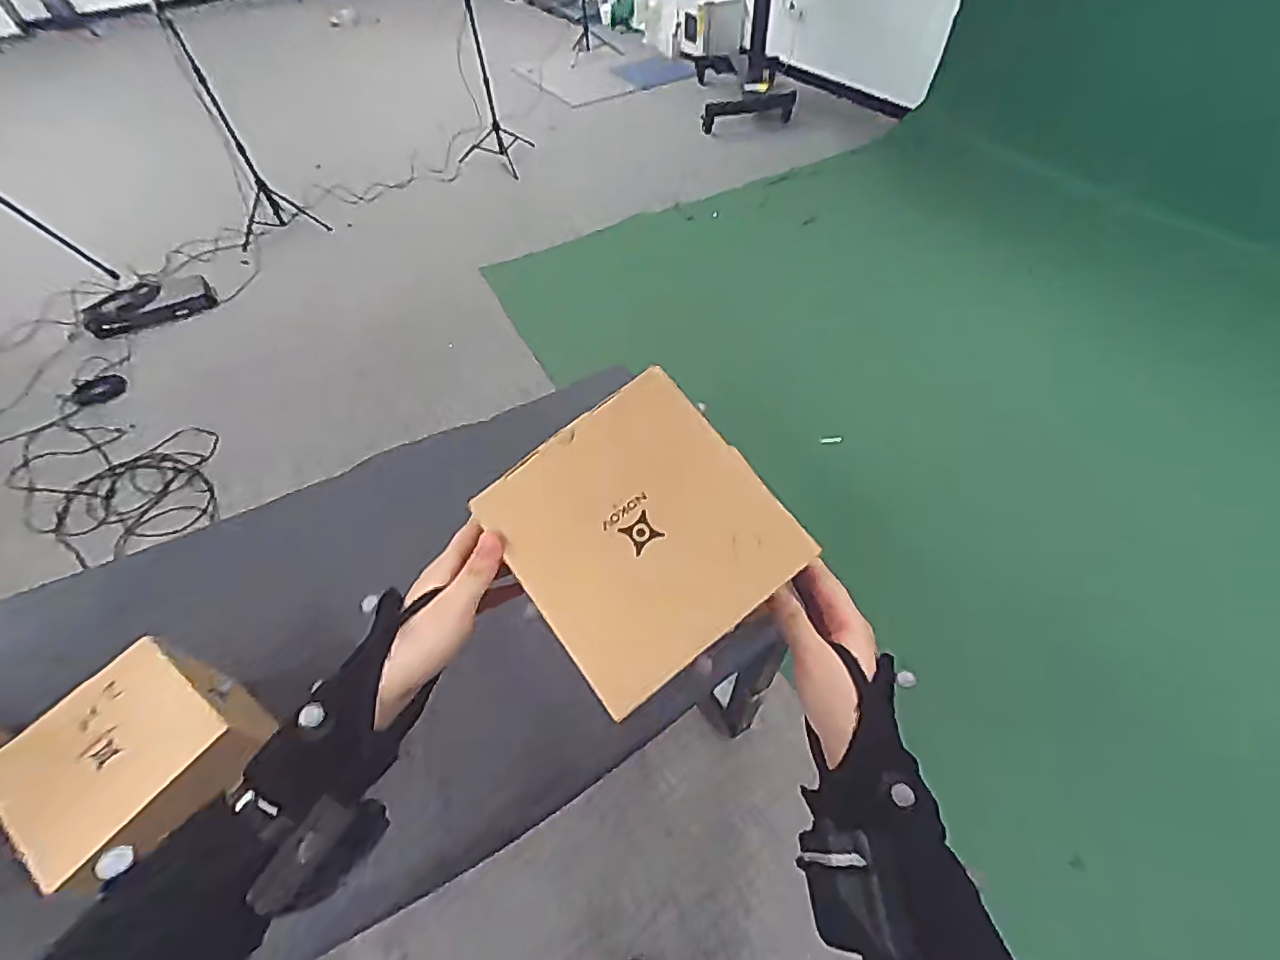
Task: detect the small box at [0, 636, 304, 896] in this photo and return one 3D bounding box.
[{"bbox_3d":[-0.520,0.311,0.593,0.179,0.176,0.168,28,58,22],"label":"small box"}]

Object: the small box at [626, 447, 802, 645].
[{"bbox_3d":[0.091,0.090,0.731,0.168,0.176,0.179,-19,51,-10],"label":"small box"}]
